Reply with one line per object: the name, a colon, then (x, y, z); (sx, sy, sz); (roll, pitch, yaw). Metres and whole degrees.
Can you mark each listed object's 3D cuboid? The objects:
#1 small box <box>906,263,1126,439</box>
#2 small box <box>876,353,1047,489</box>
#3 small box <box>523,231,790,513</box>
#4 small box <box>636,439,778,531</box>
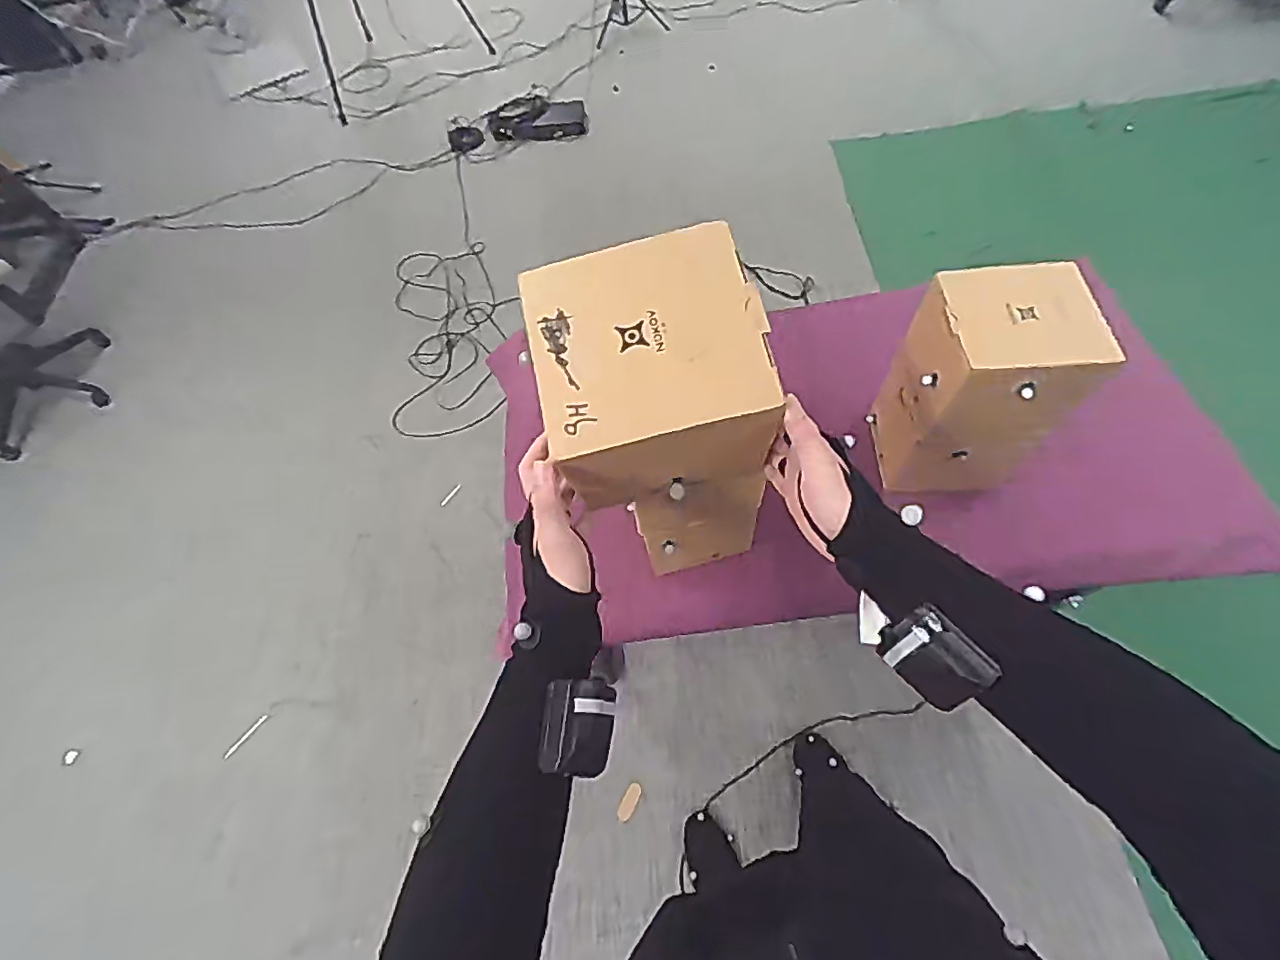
small box: (0.482, -0.166, 0.734); (0.179, 0.176, 0.168); (-2, 63, 5)
small box: (0.500, -0.093, 0.879); (0.179, 0.176, 0.168); (-1, 62, 5)
small box: (0.013, -0.079, 0.479); (0.179, 0.176, 0.168); (-13, 73, 2)
small box: (0.065, -0.051, 0.720); (0.179, 0.176, 0.168); (-14, 60, -1)
